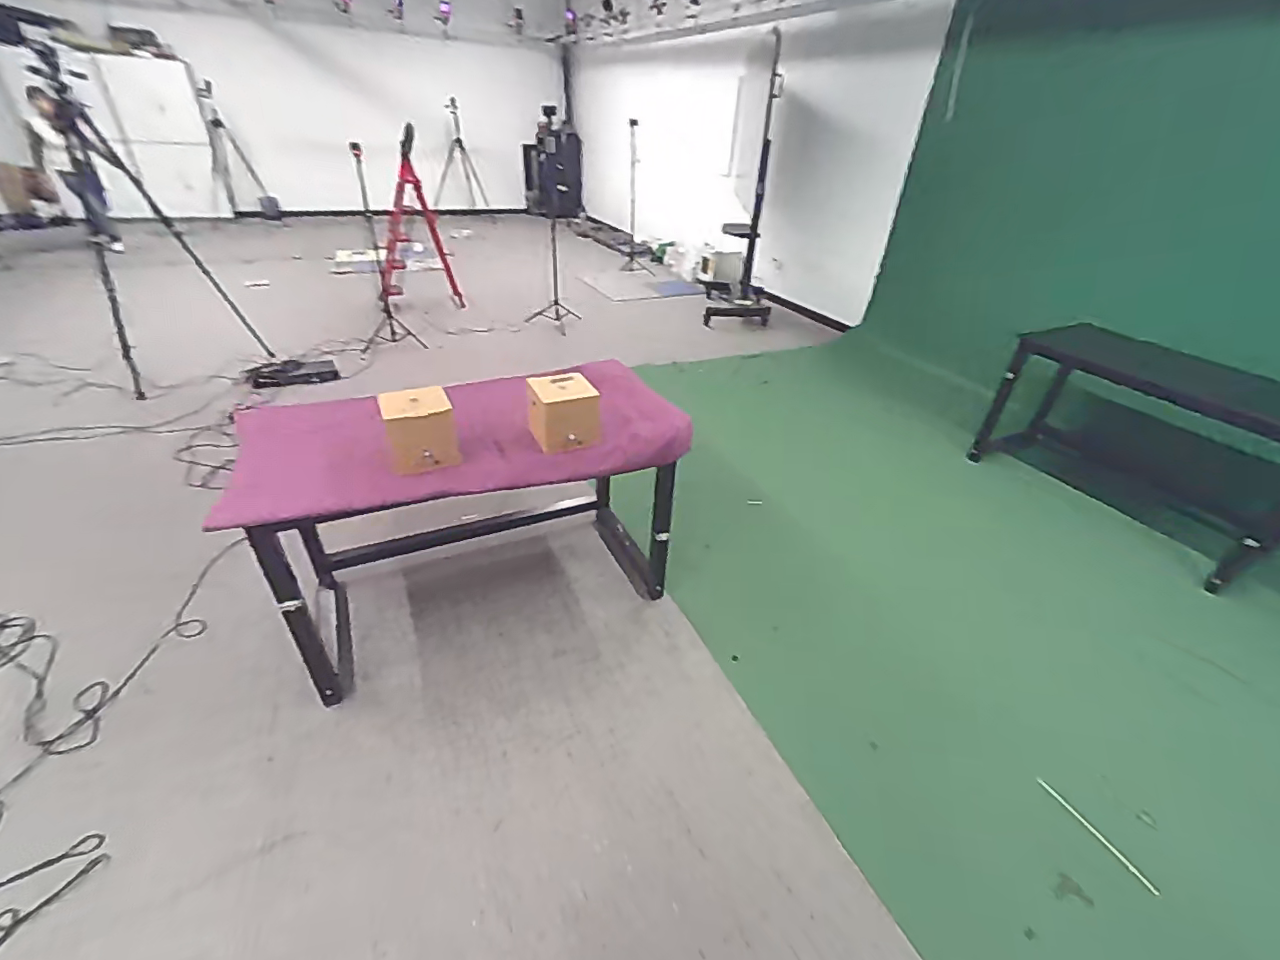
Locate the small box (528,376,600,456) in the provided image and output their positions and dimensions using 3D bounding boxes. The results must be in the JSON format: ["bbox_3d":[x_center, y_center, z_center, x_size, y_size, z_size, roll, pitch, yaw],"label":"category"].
[{"bbox_3d":[-0.226,-0.191,1.593,0.168,0.176,0.179,-12,37,-23],"label":"small box"}]

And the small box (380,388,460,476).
[{"bbox_3d":[-0.594,-0.131,1.460,0.168,0.176,0.179,-14,36,-24],"label":"small box"}]
